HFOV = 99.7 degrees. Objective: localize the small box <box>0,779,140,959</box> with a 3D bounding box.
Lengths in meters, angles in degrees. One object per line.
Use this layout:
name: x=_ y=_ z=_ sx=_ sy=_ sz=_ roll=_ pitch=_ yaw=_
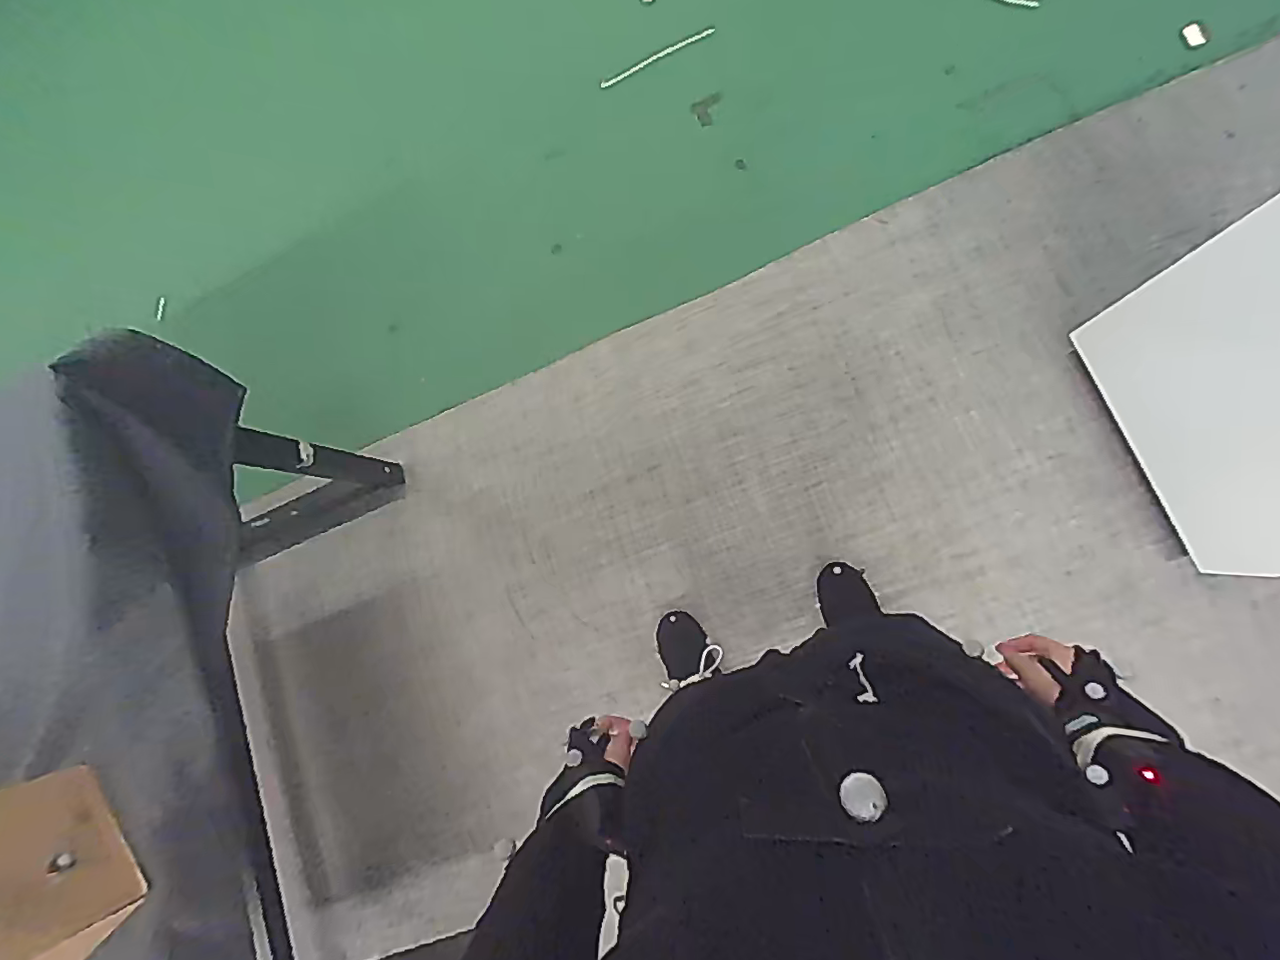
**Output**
small box: x=-0.651 y=0.436 z=0.518 sx=0.179 sy=0.176 sz=0.168 roll=-45 pitch=76 yaw=3
